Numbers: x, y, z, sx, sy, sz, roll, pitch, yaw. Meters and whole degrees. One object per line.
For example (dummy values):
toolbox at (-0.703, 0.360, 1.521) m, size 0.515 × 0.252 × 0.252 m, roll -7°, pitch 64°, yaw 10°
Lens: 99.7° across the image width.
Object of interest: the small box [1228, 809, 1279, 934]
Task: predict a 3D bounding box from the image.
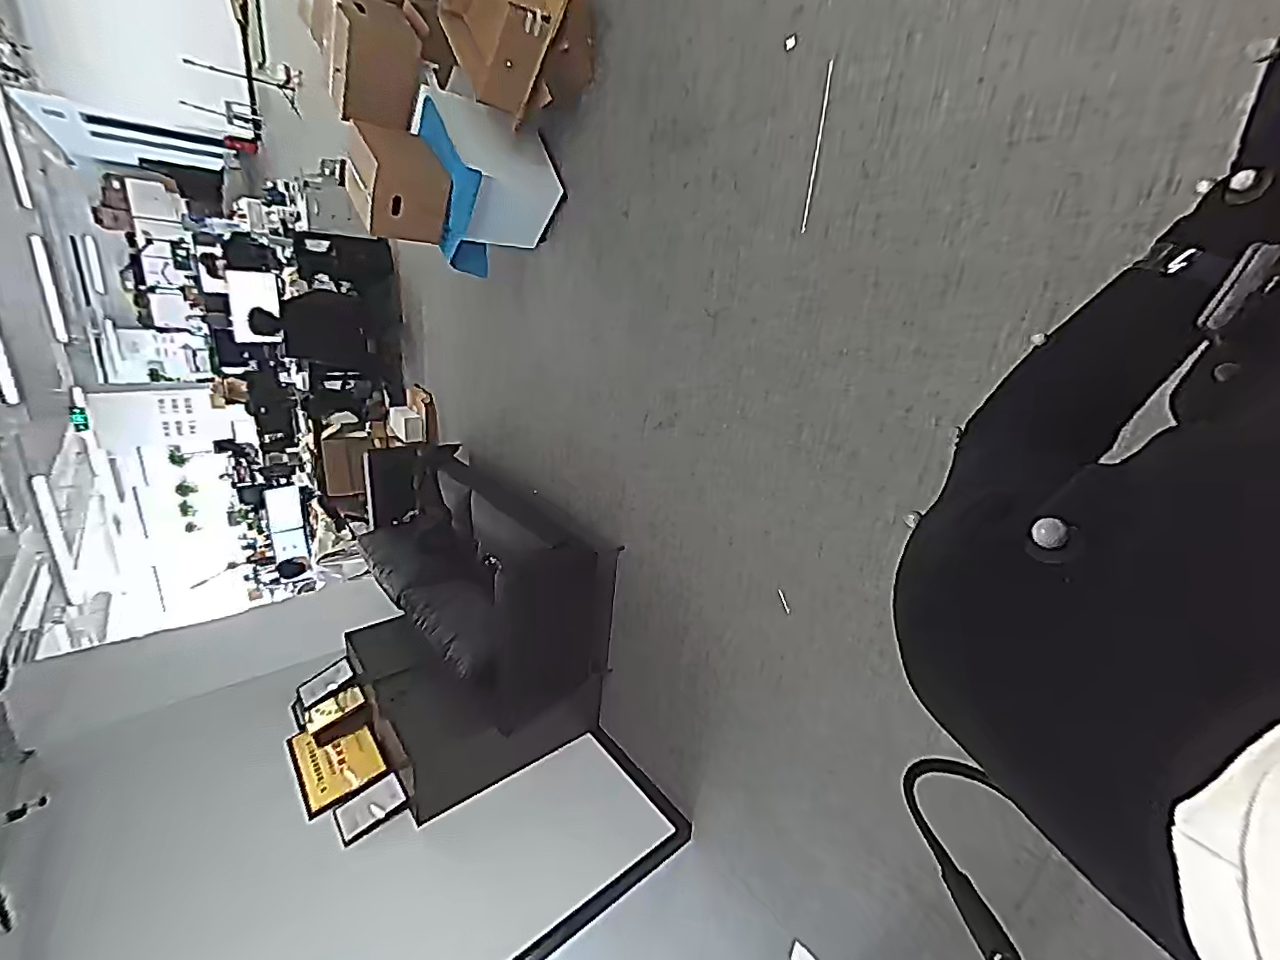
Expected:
small box at (1.337, 0.809, 1.073) m, size 0.179 × 0.176 × 0.168 m, roll 30°, pitch 121°, yaw 45°
